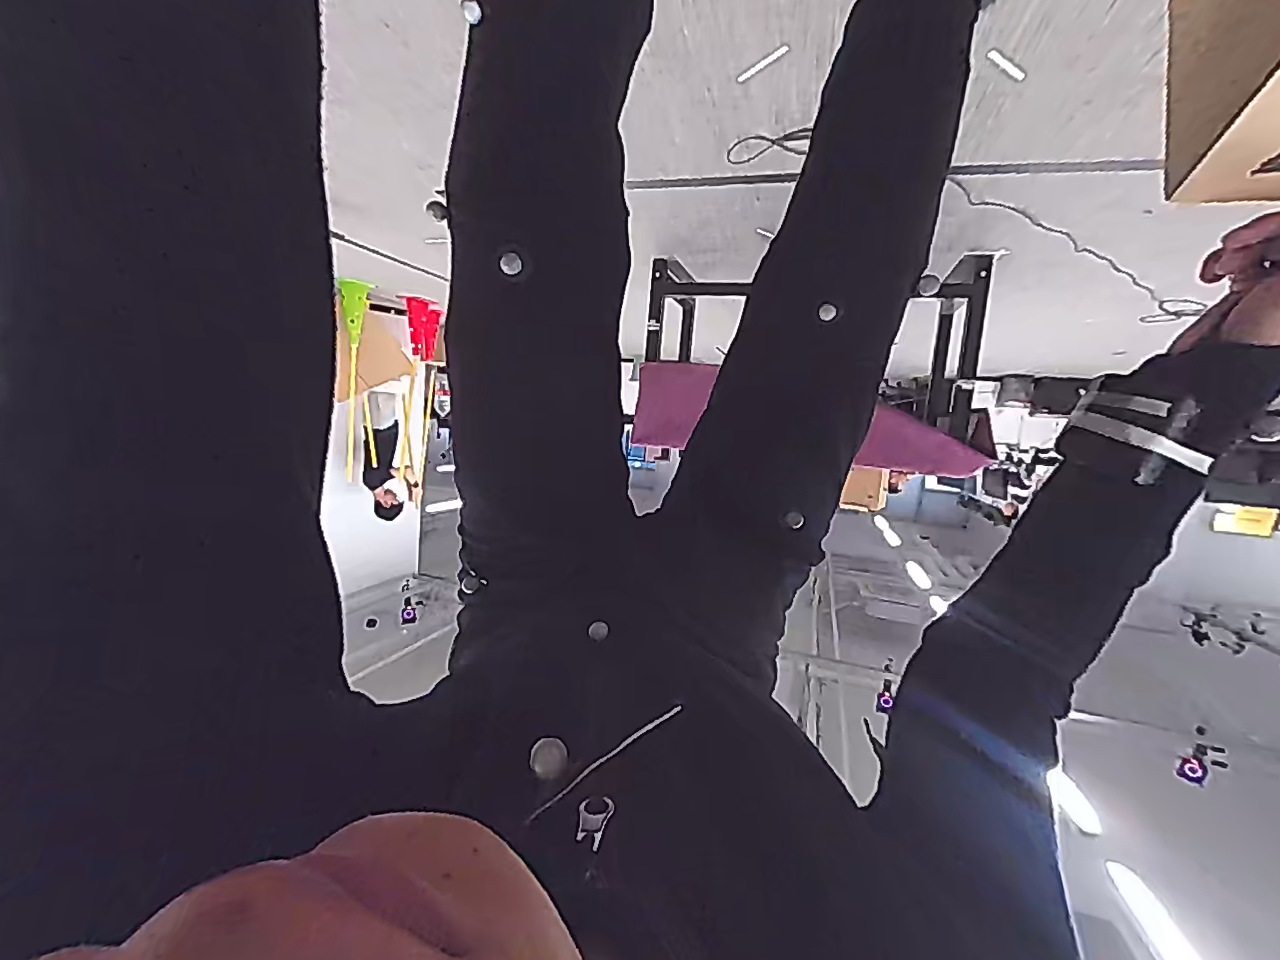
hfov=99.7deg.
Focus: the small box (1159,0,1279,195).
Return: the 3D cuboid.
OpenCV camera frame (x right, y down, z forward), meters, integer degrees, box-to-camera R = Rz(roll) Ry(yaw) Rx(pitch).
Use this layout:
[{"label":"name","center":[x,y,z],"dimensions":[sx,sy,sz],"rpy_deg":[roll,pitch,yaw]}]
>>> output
[{"label":"small box","center":[0.383,-0.258,0.237],"dimensions":[0.168,0.176,0.179],"rpy_deg":[9,166,18]}]
